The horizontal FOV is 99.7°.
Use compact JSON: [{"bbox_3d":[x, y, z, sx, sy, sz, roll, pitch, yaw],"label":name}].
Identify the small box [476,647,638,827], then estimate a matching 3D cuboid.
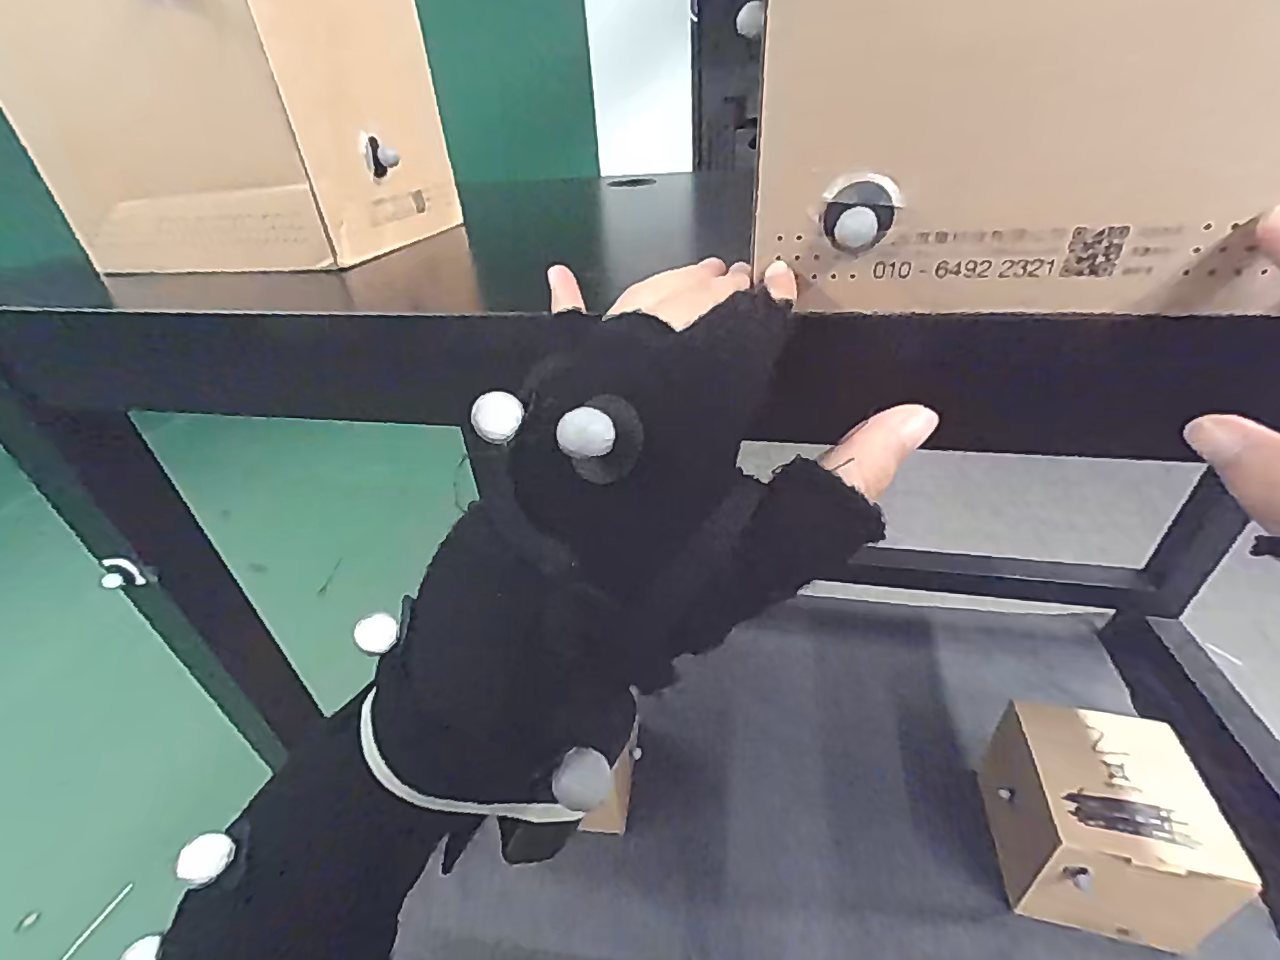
[{"bbox_3d":[-0.103,0.360,0.763,0.179,0.176,0.168,2,34,8],"label":"small box"}]
